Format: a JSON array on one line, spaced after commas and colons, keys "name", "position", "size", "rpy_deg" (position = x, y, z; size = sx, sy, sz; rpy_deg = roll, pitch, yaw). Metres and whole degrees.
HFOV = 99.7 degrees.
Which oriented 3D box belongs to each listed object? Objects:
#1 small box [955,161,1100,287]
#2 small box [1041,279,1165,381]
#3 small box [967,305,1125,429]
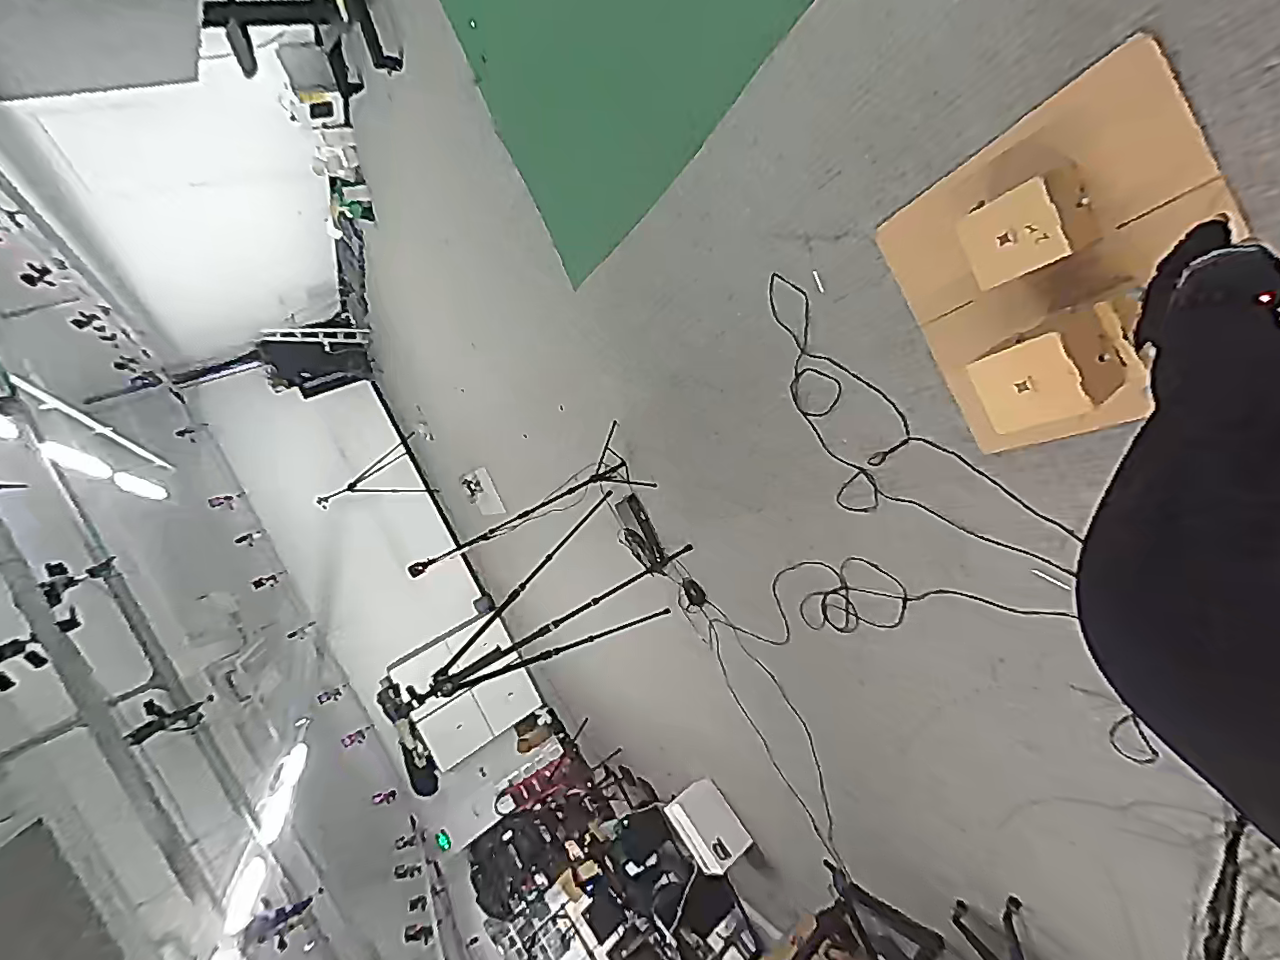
[{"name": "small box", "position": [0.821, -0.540, 1.148], "size": [0.179, 0.176, 0.168], "rpy_deg": [-16, 102, 61]}, {"name": "small box", "position": [0.956, -0.295, 1.141], "size": [0.168, 0.176, 0.179], "rpy_deg": [61, 152, 0]}, {"name": "small box", "position": [0.815, -0.225, 1.090], "size": [0.168, 0.176, 0.179], "rpy_deg": [63, 152, -2]}]
